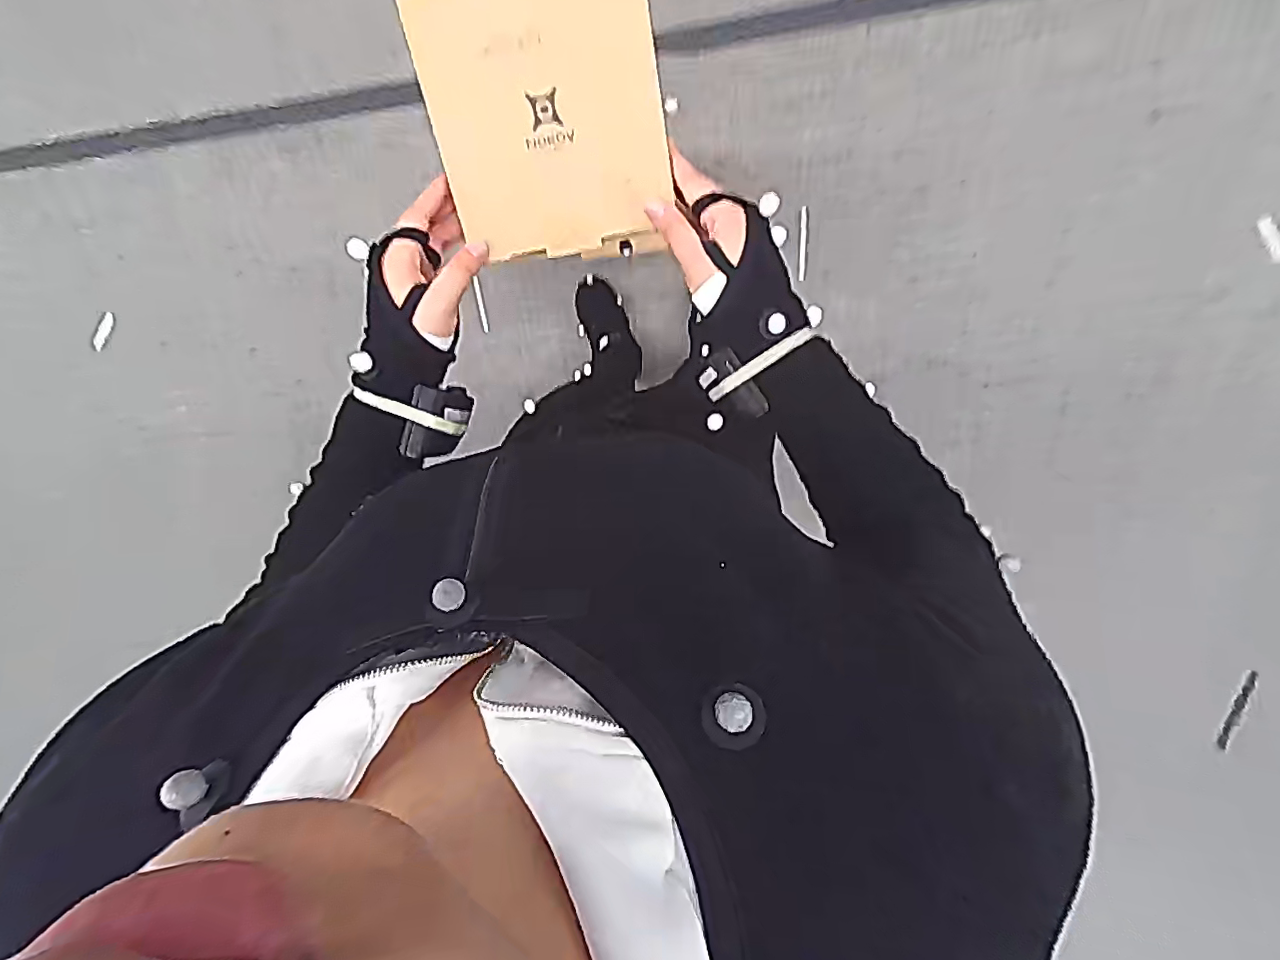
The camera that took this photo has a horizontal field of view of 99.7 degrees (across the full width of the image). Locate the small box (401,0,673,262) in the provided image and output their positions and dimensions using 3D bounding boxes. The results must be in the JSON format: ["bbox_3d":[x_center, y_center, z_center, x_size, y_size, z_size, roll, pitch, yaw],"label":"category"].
[{"bbox_3d":[-0.065,-0.297,0.459,0.168,0.176,0.179,-9,115,4],"label":"small box"}]

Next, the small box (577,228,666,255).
[{"bbox_3d":[-0.037,-0.535,1.028,0.168,0.176,0.179,-3,118,6],"label":"small box"}]
